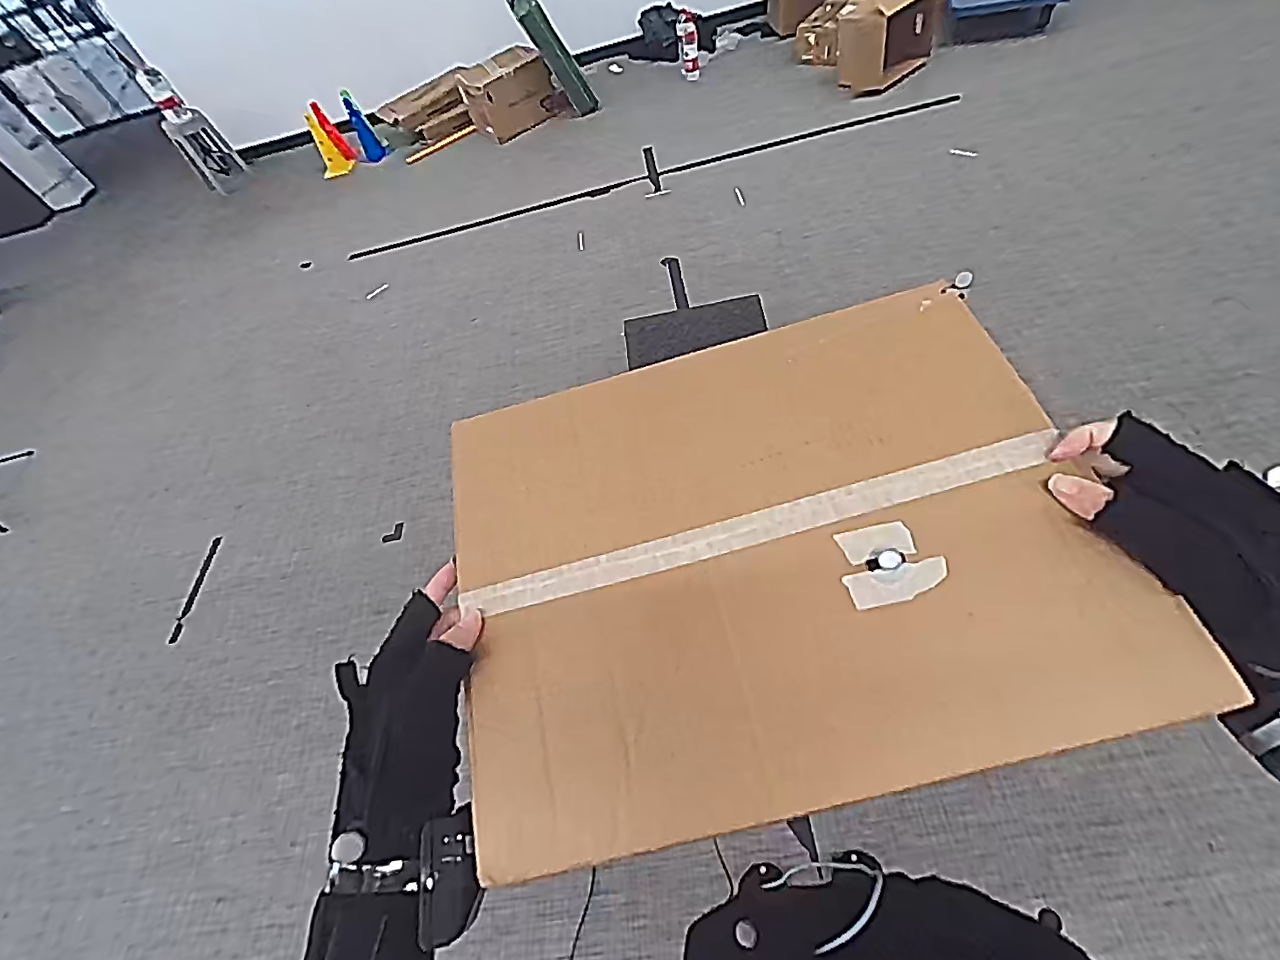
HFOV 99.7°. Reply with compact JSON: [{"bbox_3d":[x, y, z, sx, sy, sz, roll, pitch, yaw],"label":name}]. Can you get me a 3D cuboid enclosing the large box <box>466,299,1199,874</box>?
[{"bbox_3d":[0.102,0.106,0.497,0.408,0.320,0.320,-16,62,2],"label":"large box"}]
